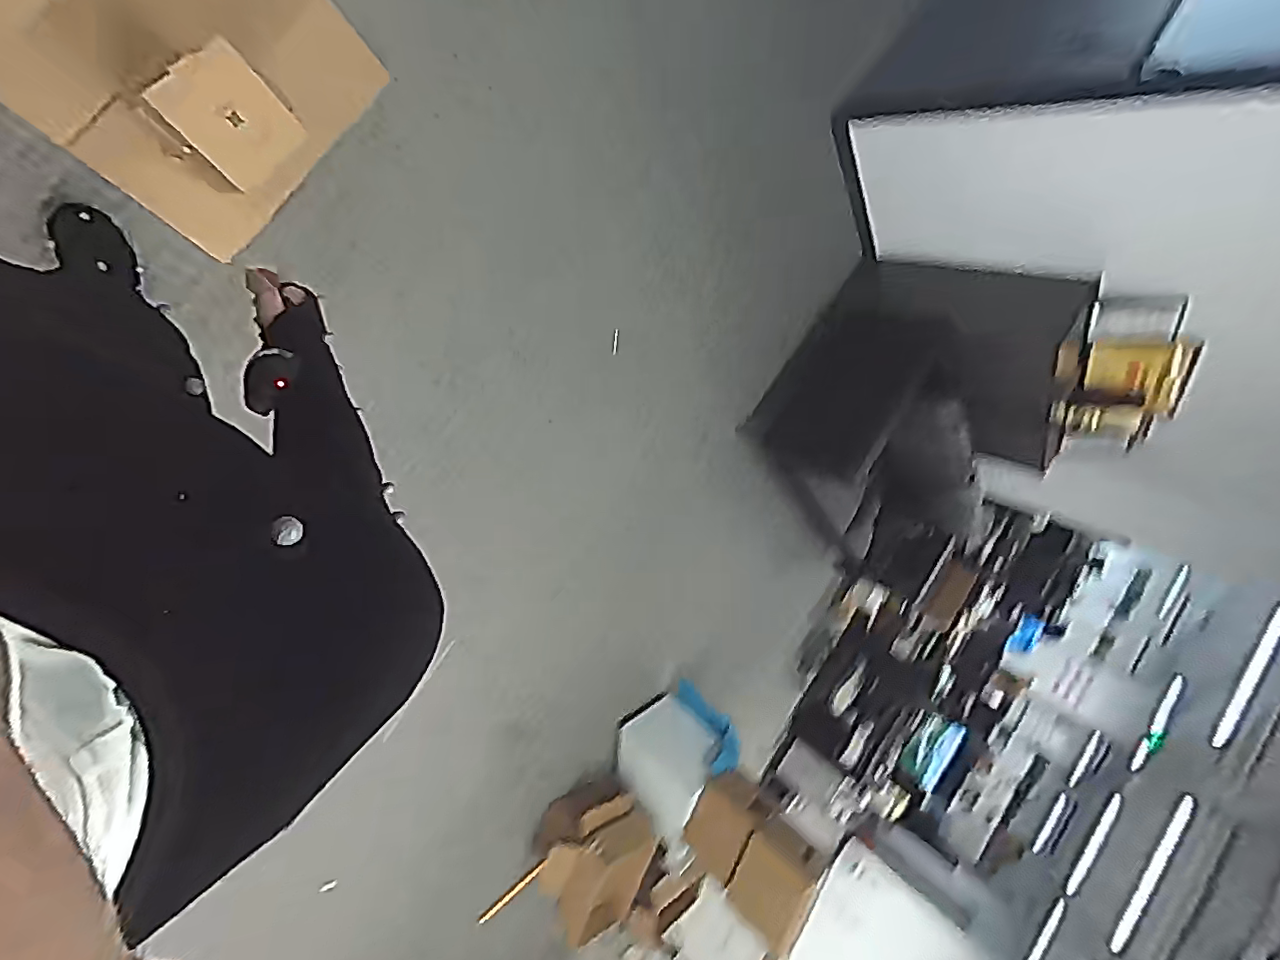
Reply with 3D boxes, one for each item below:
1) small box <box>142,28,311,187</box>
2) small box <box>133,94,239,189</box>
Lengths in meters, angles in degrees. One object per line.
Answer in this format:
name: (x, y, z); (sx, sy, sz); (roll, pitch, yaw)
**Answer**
small box: (-0.749, -0.659, 0.976); (0.168, 0.176, 0.179); (-50, 138, -11)
small box: (-0.858, -0.718, 1.083); (0.168, 0.176, 0.179); (-52, 139, -10)
